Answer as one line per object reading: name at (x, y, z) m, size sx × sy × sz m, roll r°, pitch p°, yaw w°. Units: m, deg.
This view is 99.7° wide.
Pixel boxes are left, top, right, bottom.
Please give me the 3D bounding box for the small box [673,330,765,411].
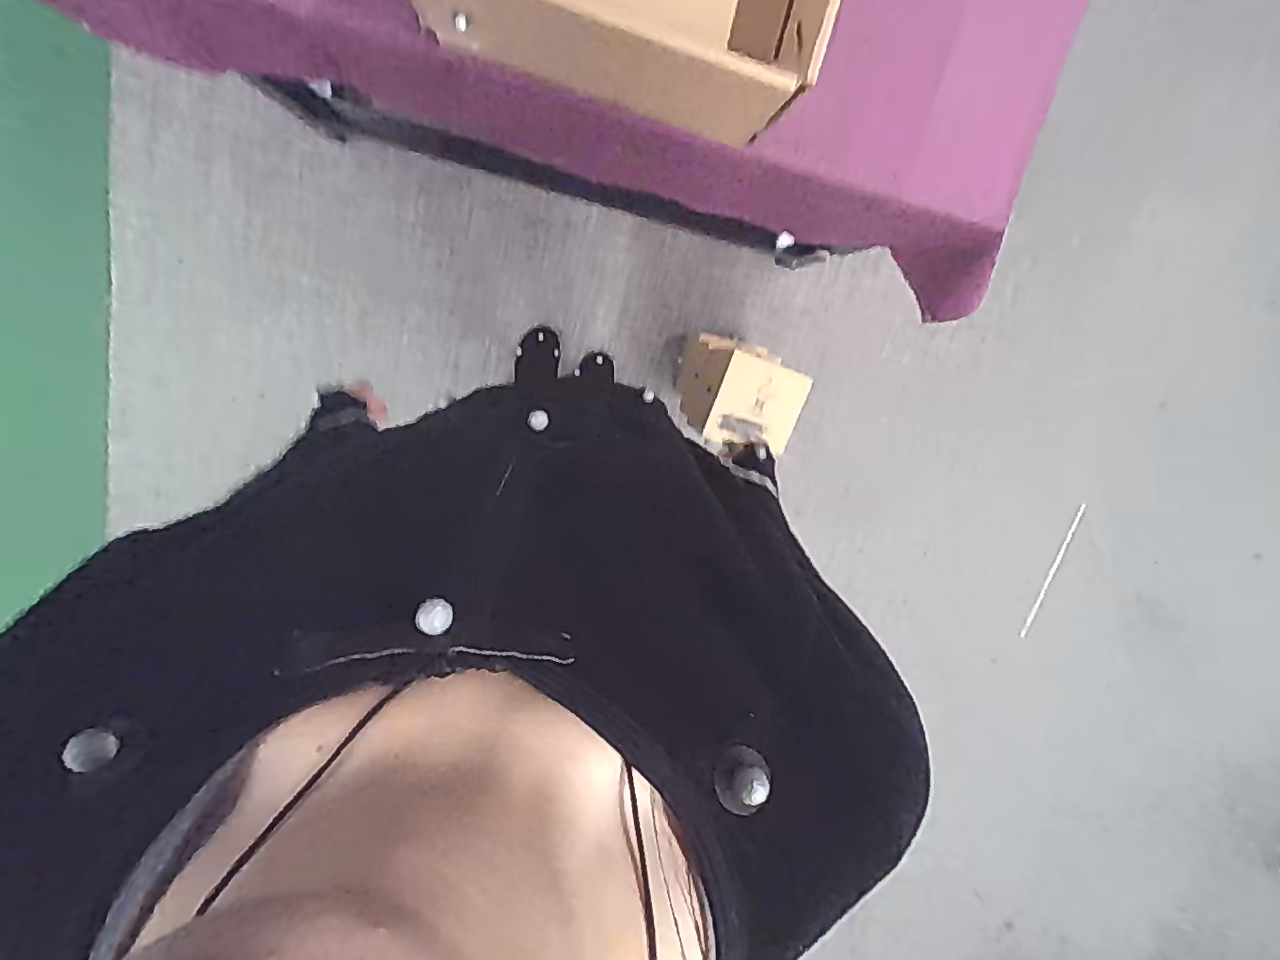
small box at (0.198, -0.289, 1.399) m, size 0.179 × 0.176 × 0.168 m, roll 11°, pitch 105°, yaw -8°
